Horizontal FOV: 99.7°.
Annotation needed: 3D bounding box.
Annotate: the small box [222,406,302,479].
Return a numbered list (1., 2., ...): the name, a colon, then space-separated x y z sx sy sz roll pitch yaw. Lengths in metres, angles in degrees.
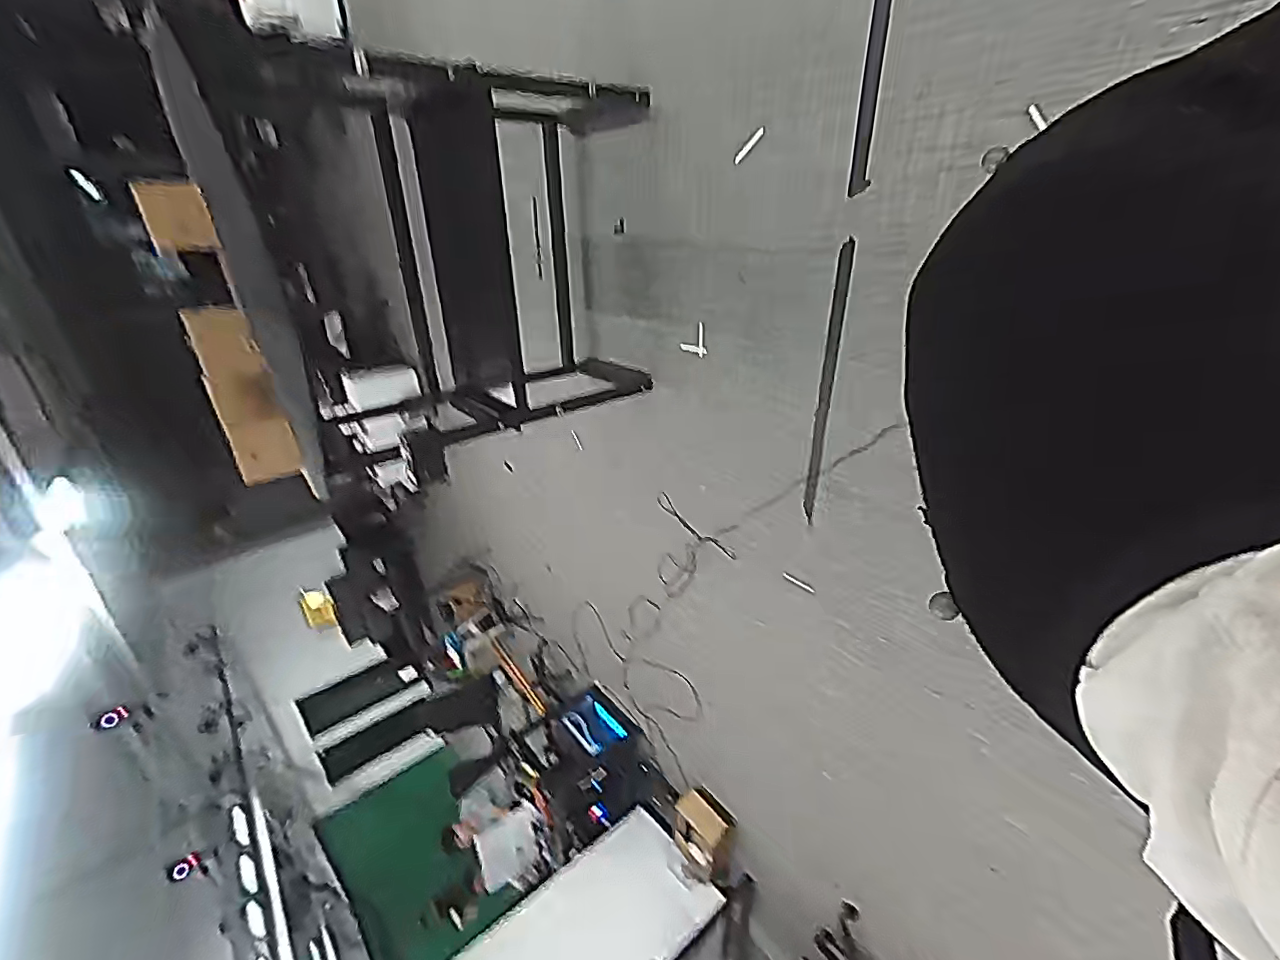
1. small box: -1.206 -0.125 1.731 0.168 0.176 0.179 24 125 47

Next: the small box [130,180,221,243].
1. small box: -1.409 -0.818 1.648 0.179 0.176 0.168 26 128 44

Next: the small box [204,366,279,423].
1. small box: -1.391 -0.296 1.894 0.168 0.176 0.179 25 125 45

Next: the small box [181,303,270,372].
1. small box: -1.212 -0.424 1.587 0.179 0.176 0.168 23 126 47
